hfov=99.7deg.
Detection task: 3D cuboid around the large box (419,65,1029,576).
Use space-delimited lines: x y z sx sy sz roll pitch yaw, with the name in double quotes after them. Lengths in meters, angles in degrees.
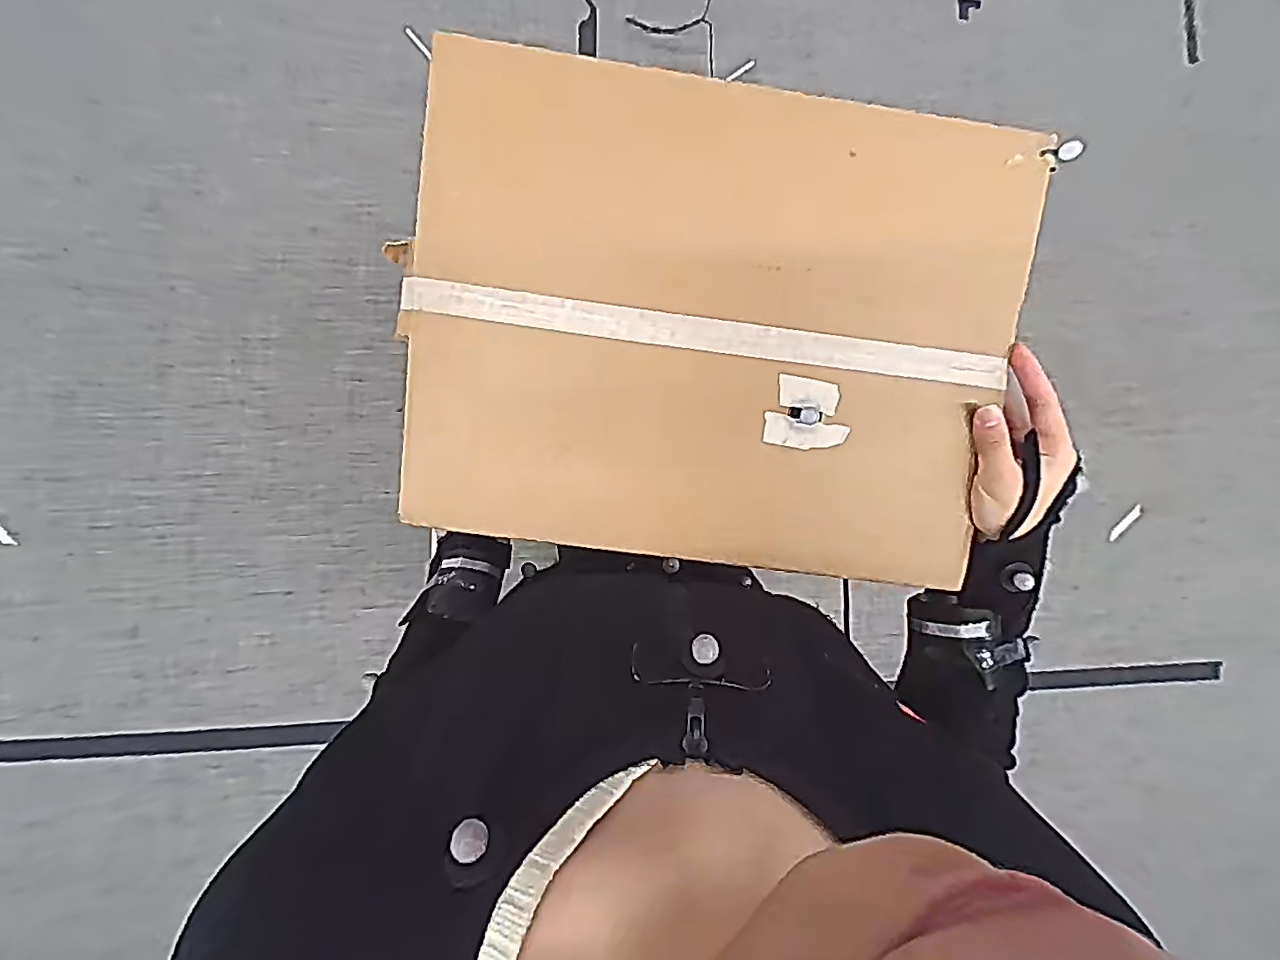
0.046 -0.116 0.521 0.408 0.320 0.320 6 98 -4 "large box"
